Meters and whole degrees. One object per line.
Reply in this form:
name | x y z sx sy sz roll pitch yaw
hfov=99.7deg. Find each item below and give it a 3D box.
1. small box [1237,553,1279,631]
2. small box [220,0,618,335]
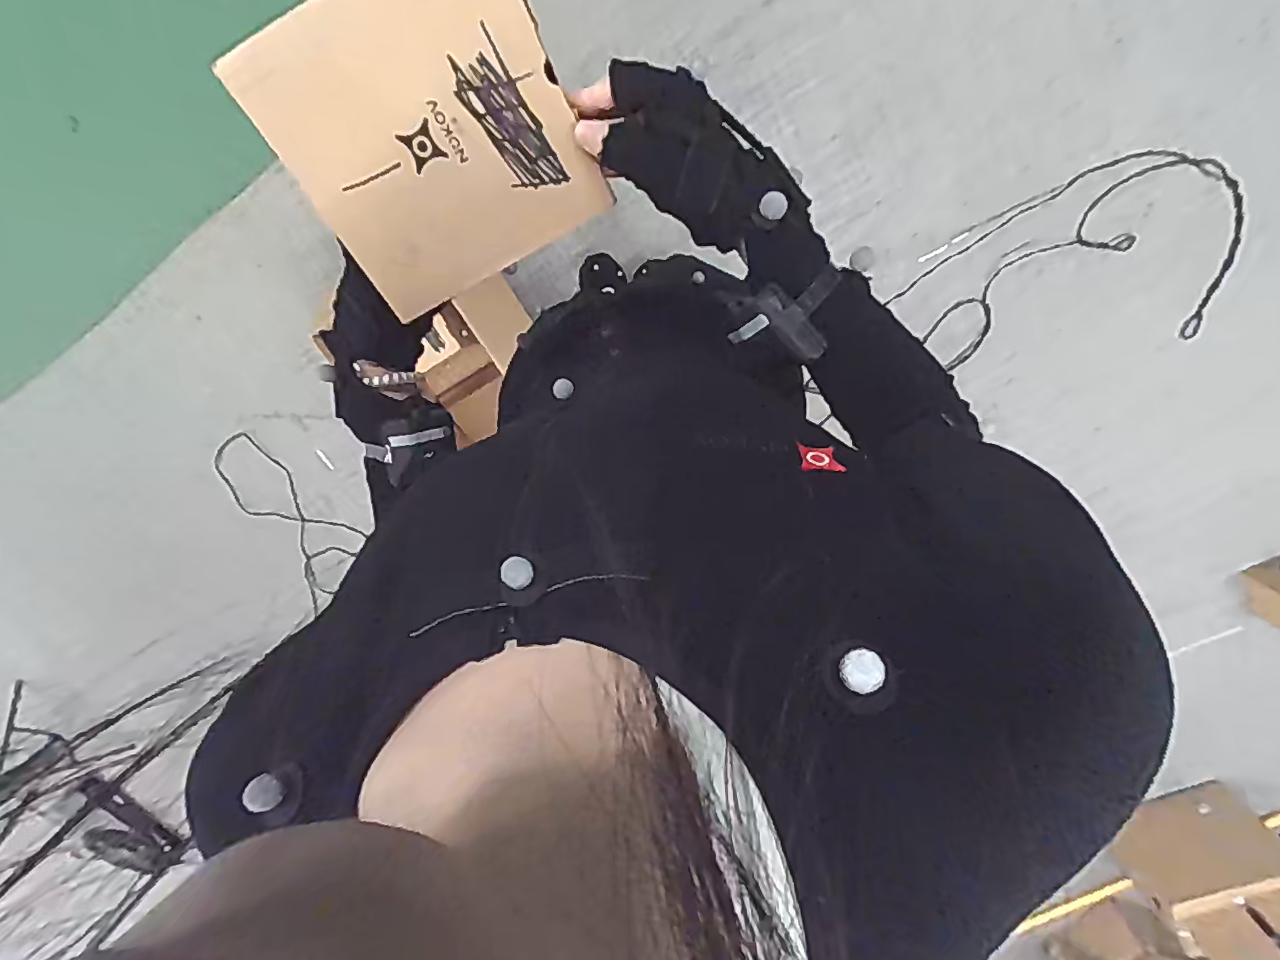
small box | 1.877 0.328 1.535 0.168 0.176 0.179 -31 109 14
small box | -0.137 -0.240 0.398 0.179 0.176 0.168 -26 123 5
